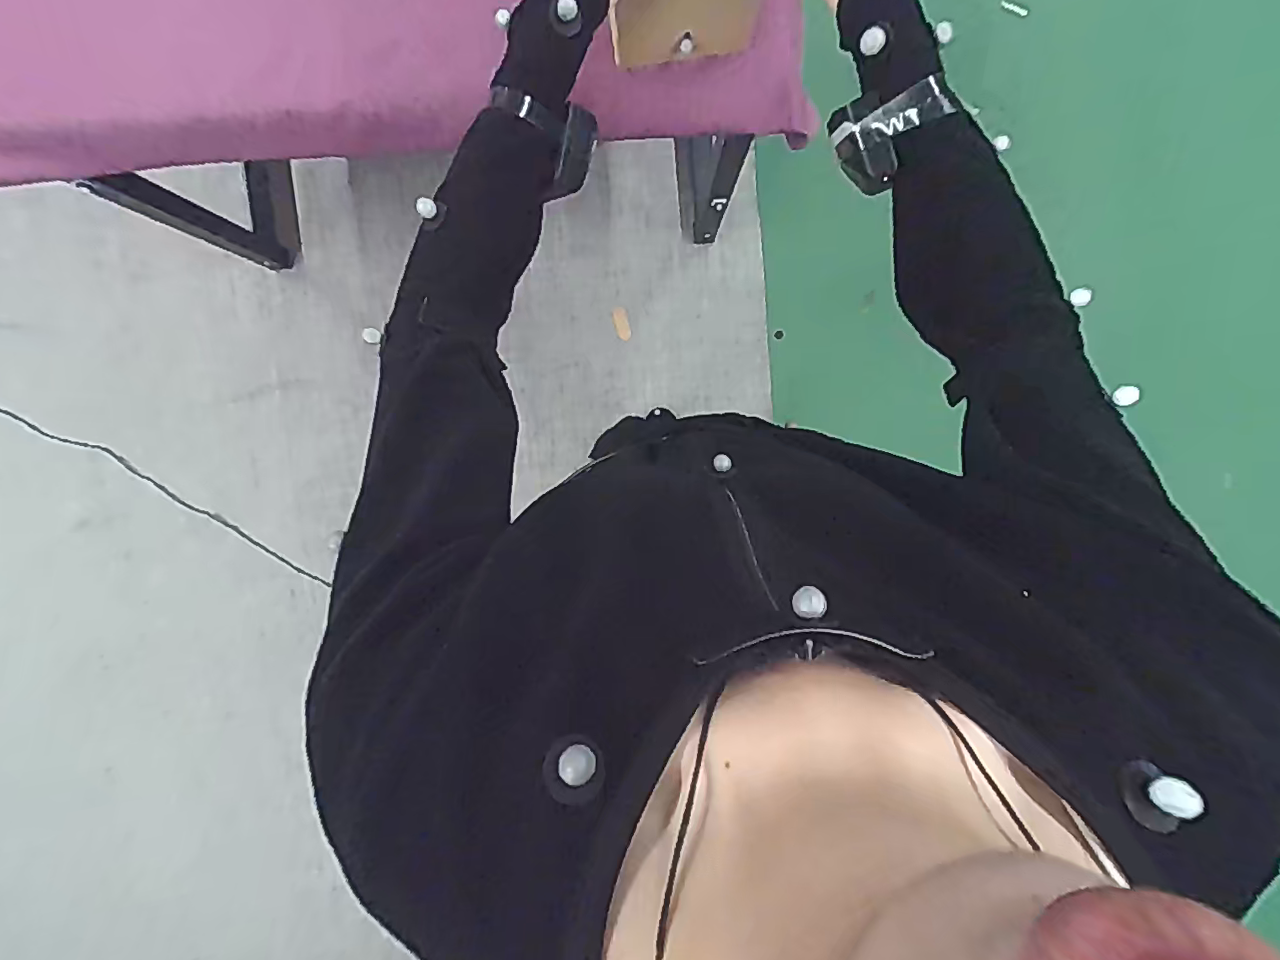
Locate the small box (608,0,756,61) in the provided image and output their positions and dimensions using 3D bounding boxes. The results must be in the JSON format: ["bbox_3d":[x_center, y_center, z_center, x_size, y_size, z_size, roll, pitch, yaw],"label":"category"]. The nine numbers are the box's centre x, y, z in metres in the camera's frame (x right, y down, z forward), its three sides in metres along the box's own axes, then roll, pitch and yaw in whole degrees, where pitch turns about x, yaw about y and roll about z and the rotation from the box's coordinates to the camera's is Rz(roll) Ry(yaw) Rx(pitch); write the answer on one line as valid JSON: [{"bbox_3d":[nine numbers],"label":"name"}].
[{"bbox_3d":[0.044,-0.626,0.618,0.179,0.176,0.168,-8,96,1],"label":"small box"}]
